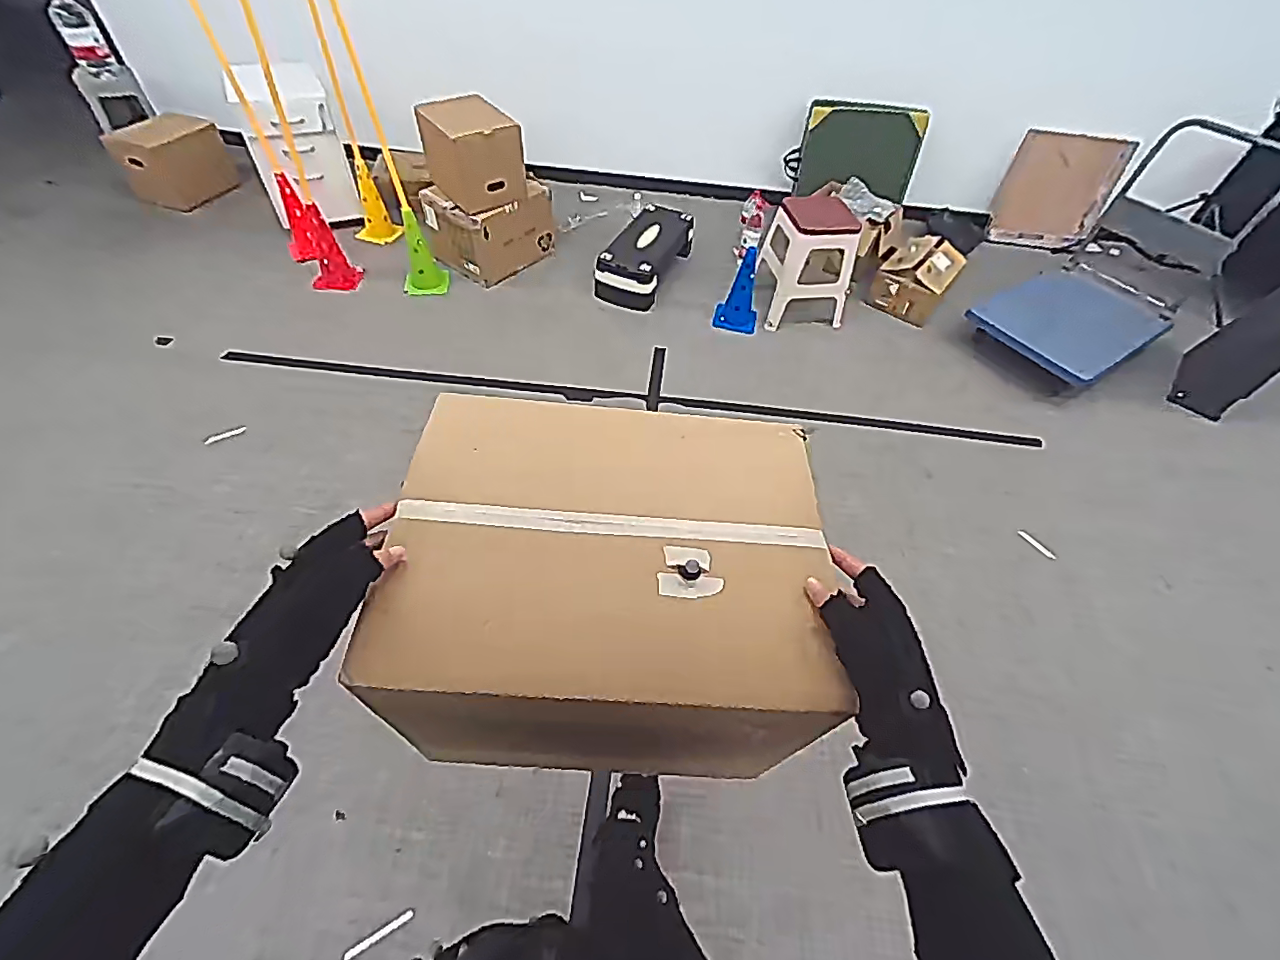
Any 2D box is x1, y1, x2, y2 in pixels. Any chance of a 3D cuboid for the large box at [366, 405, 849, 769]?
[{"bbox_3d":[-0.036,0.141,0.644,0.408,0.320,0.320,5,53,-4],"label":"large box"}]
